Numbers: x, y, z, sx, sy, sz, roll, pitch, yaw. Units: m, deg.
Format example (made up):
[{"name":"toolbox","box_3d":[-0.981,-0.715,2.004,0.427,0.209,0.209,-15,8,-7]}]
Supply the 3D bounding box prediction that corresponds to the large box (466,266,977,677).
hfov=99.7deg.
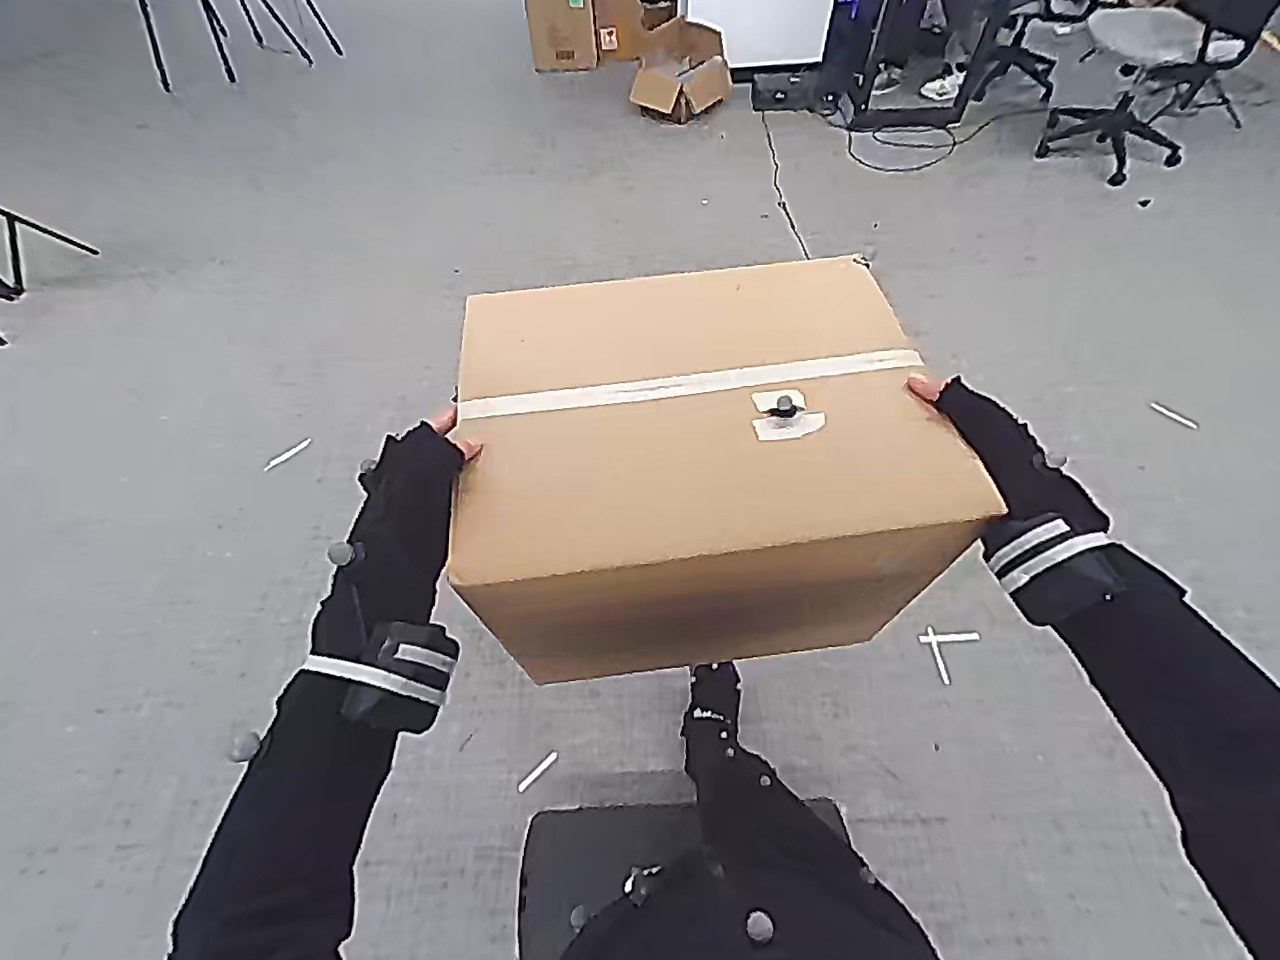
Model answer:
[{"name":"large box","box_3d":[0.050,0.003,0.611,0.408,0.320,0.320,-7,57,-2]}]
